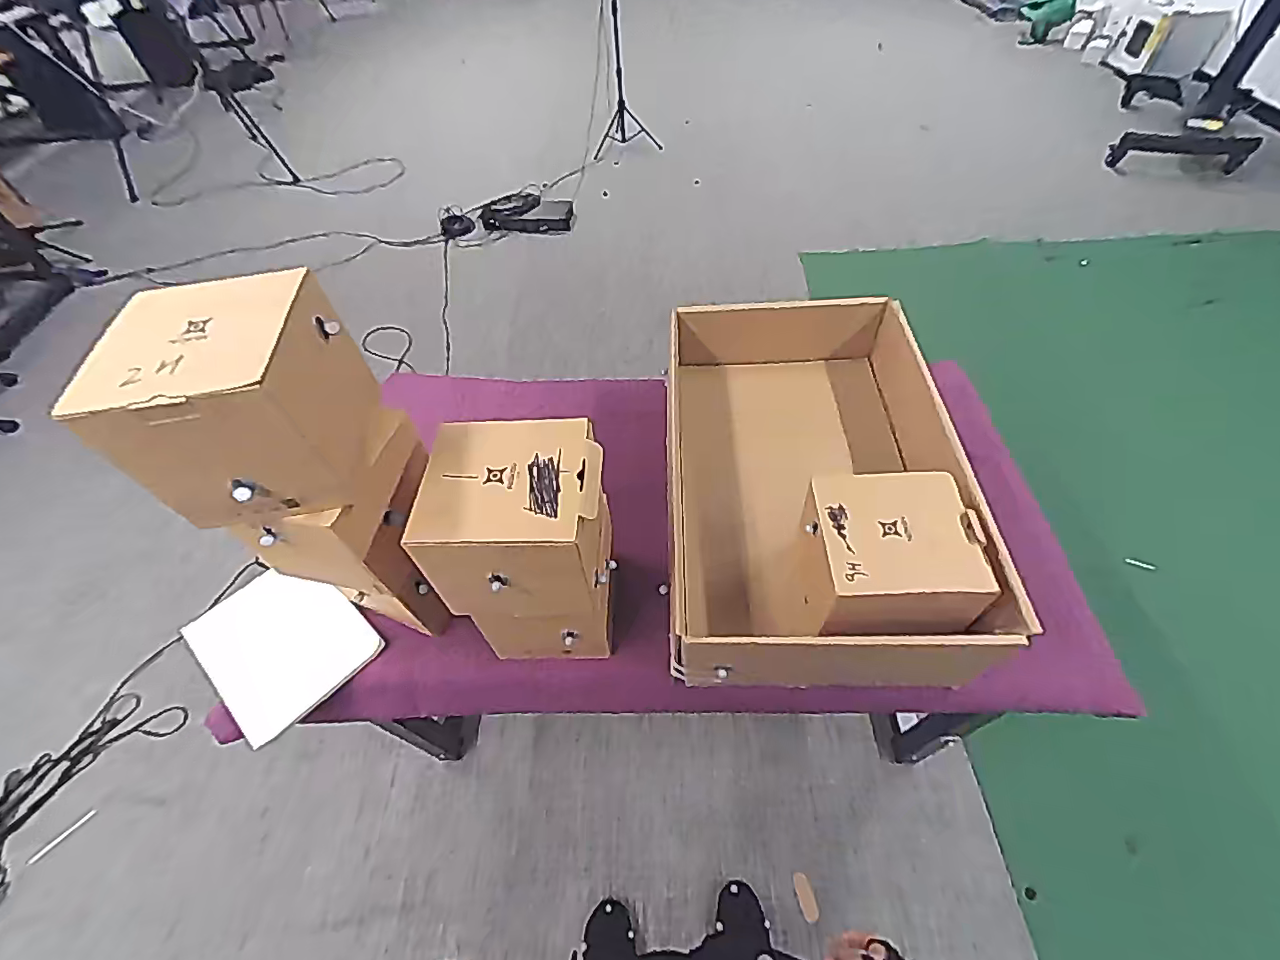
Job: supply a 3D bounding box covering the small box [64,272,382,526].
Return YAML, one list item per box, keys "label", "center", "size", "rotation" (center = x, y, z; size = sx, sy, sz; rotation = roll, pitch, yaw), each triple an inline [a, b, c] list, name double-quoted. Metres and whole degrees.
- label: "small box"
  center: [-0.382, -0.079, 0.543]
  size: [0.168, 0.176, 0.179]
  rotation: [-9, 53, -2]

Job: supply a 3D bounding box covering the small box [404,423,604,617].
- label: "small box"
  center: [-0.139, 0.050, 0.634]
  size: [0.179, 0.176, 0.168]
  rotation: [-1, 51, 3]
